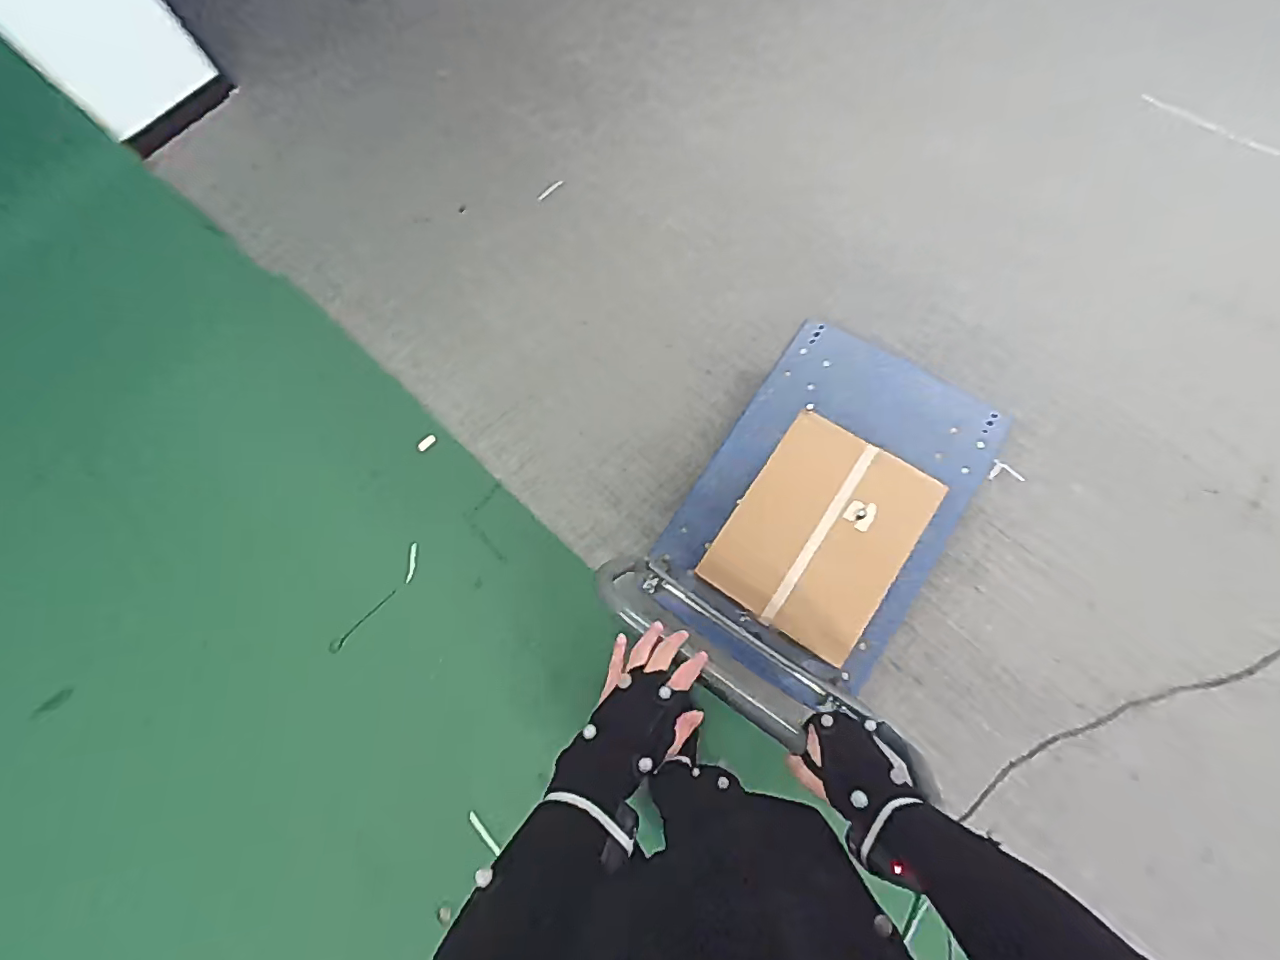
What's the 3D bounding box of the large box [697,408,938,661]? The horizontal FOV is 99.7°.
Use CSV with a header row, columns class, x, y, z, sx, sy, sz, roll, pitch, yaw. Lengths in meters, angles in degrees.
class,x,y,z,sx,sy,sz,roll,pitch,yaw
large box,0.355,0.132,1.177,0.320,0.320,0.408,33,80,13
